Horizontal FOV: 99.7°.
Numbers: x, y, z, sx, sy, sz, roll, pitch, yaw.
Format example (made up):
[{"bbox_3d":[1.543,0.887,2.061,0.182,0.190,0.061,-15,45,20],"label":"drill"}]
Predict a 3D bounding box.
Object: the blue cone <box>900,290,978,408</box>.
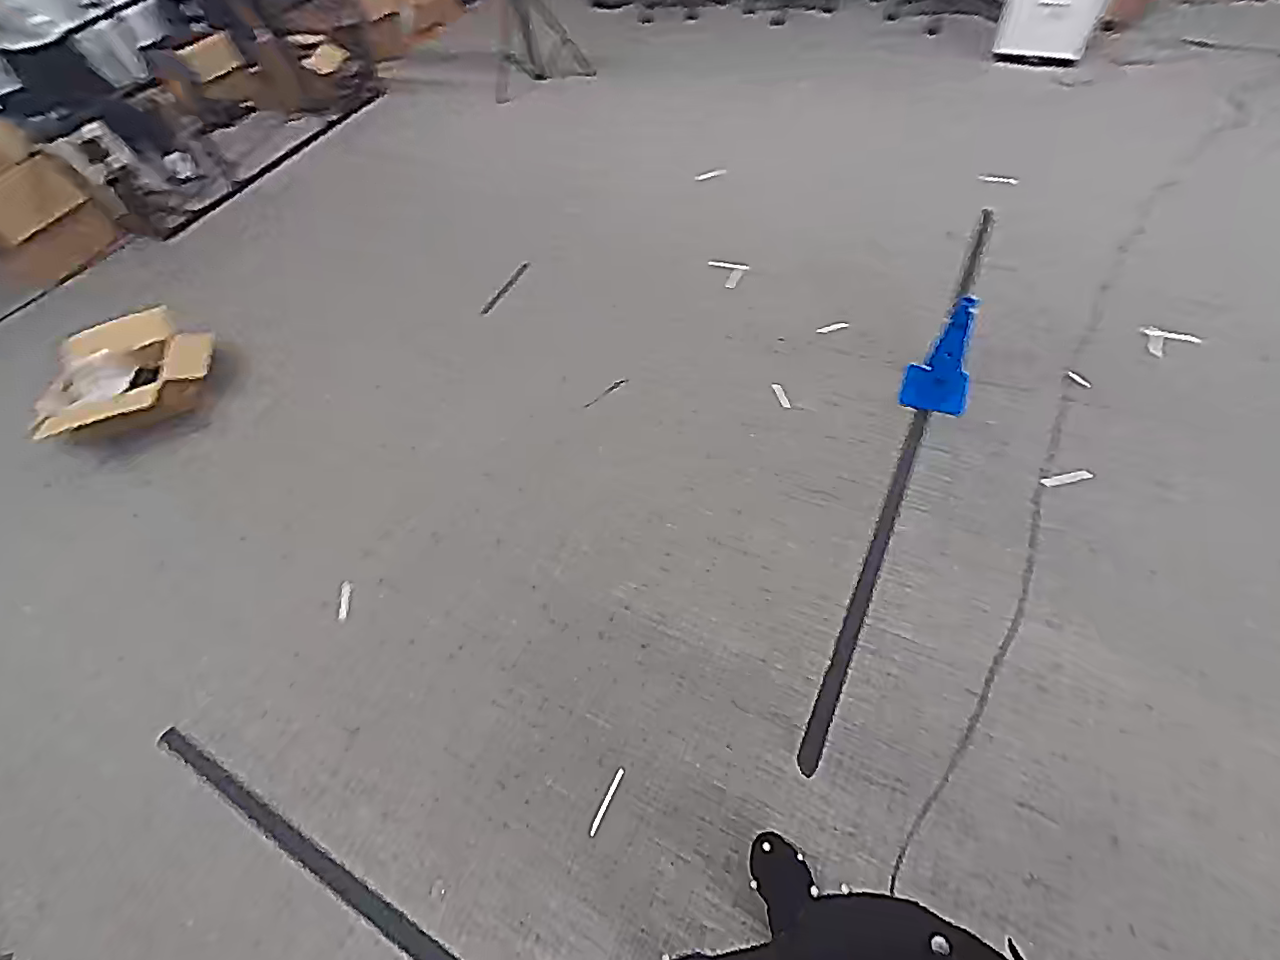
[{"bbox_3d":[0.951,-0.417,1.672,0.192,0.380,0.193,14,58,19],"label":"blue cone"}]
